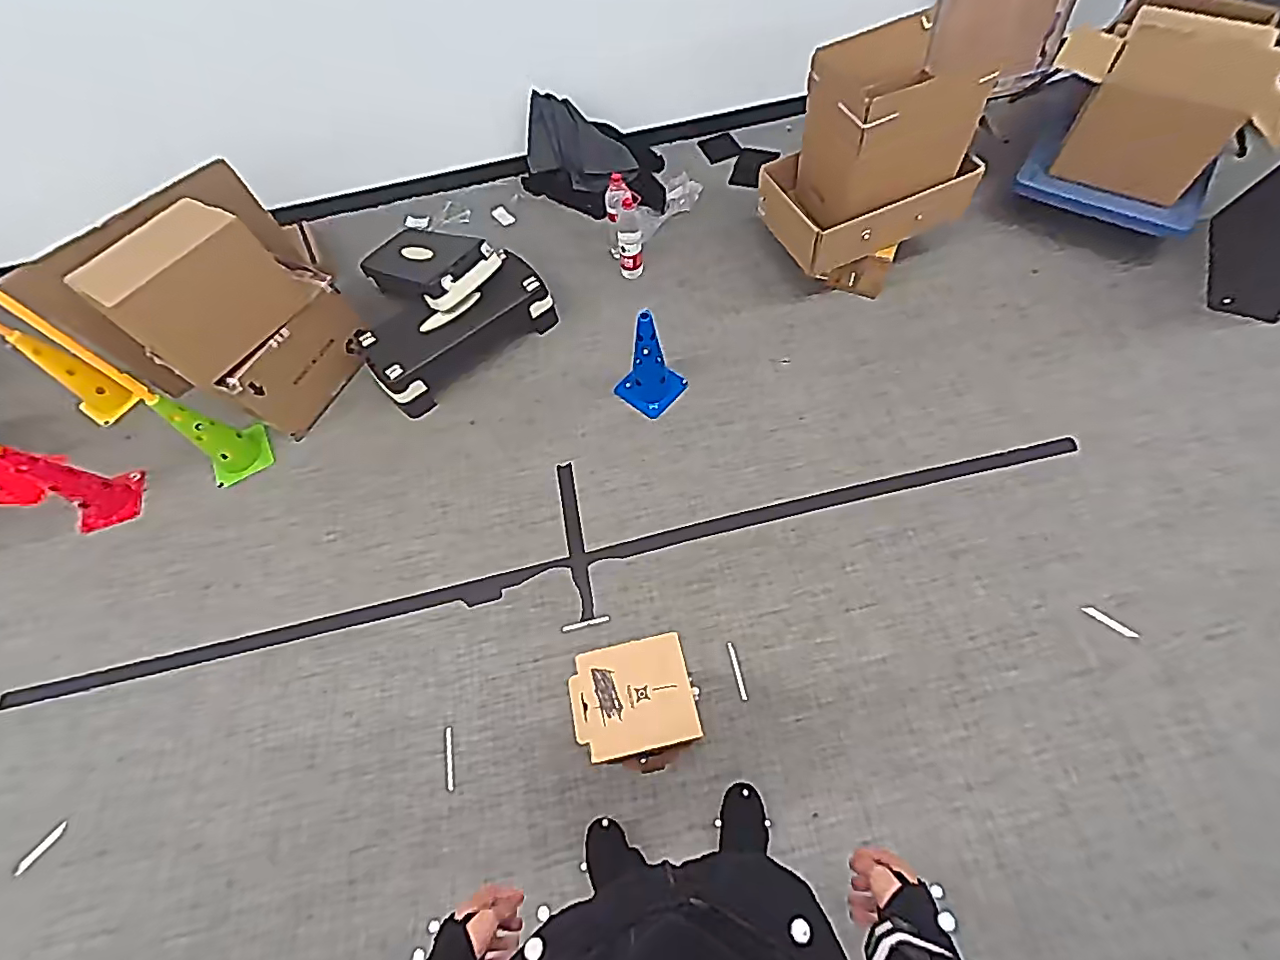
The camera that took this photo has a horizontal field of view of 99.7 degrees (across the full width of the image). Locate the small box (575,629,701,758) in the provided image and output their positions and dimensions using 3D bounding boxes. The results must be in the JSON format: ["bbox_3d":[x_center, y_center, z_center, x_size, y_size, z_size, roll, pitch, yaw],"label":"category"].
[{"bbox_3d":[-0.001,0.370,0.924,0.179,0.176,0.168,-12,63,-3],"label":"small box"}]
